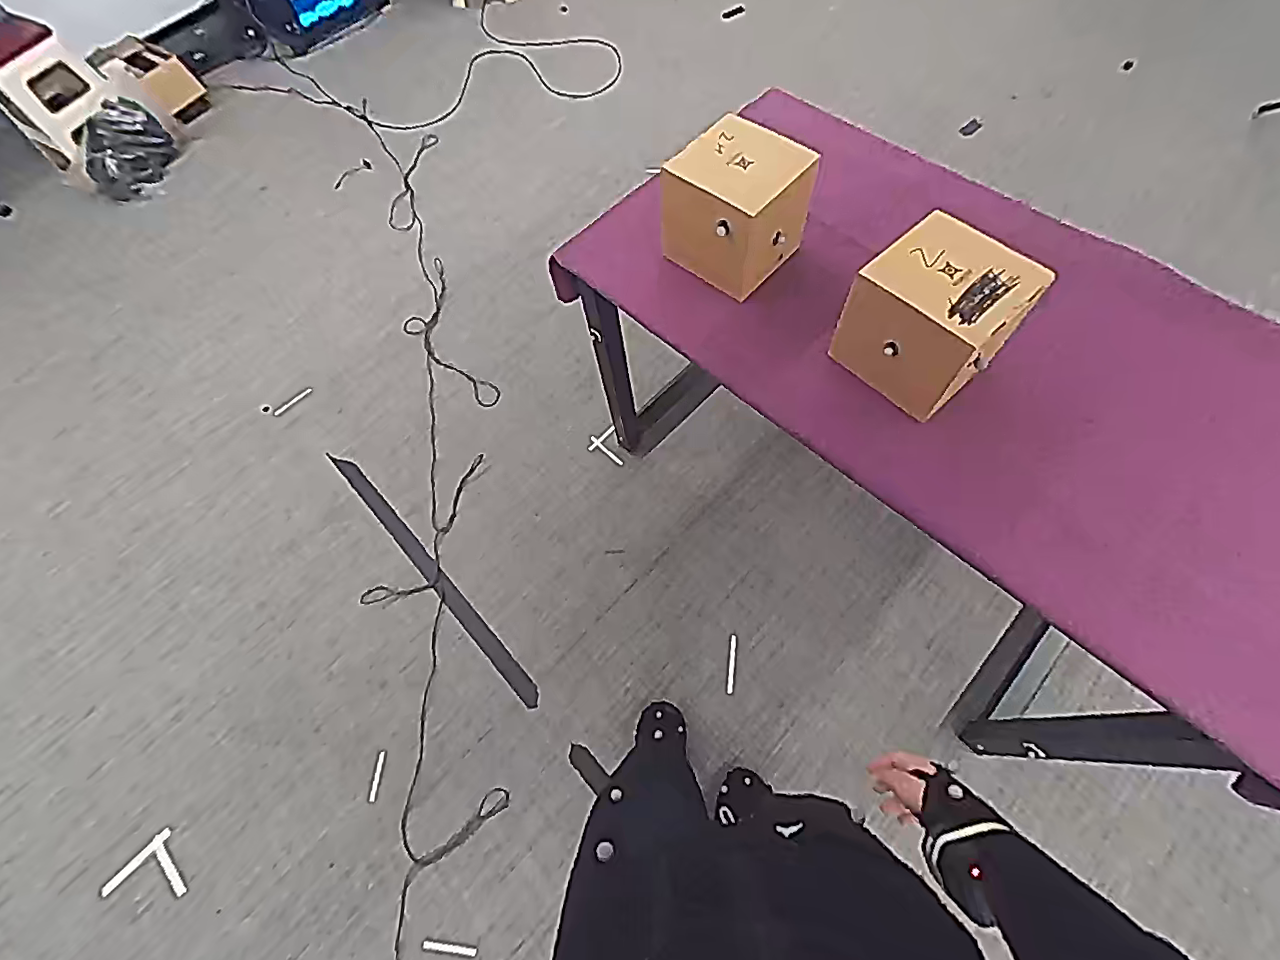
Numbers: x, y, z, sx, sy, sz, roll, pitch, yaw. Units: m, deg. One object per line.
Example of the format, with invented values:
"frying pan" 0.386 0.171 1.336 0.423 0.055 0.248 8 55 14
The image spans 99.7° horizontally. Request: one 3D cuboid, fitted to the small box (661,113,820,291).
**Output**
"small box" 0.153 -0.435 0.867 0.179 0.176 0.168 39 72 20
